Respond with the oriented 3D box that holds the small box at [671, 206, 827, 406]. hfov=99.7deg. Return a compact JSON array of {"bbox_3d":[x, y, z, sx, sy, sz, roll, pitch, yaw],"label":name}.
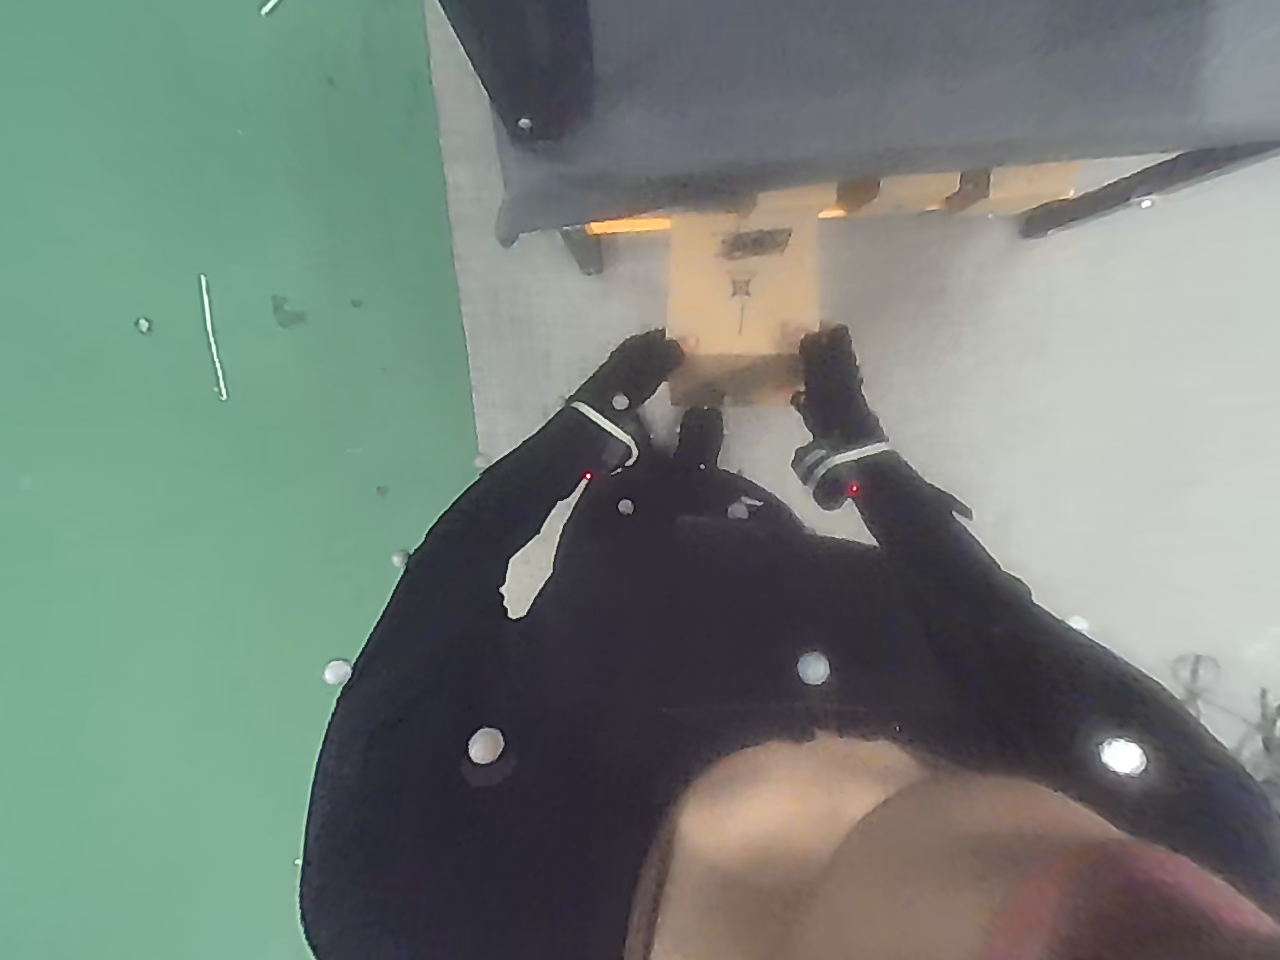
[{"bbox_3d":[0.125,-0.203,0.661,0.168,0.176,0.179,1,79,7],"label":"small box"}]
